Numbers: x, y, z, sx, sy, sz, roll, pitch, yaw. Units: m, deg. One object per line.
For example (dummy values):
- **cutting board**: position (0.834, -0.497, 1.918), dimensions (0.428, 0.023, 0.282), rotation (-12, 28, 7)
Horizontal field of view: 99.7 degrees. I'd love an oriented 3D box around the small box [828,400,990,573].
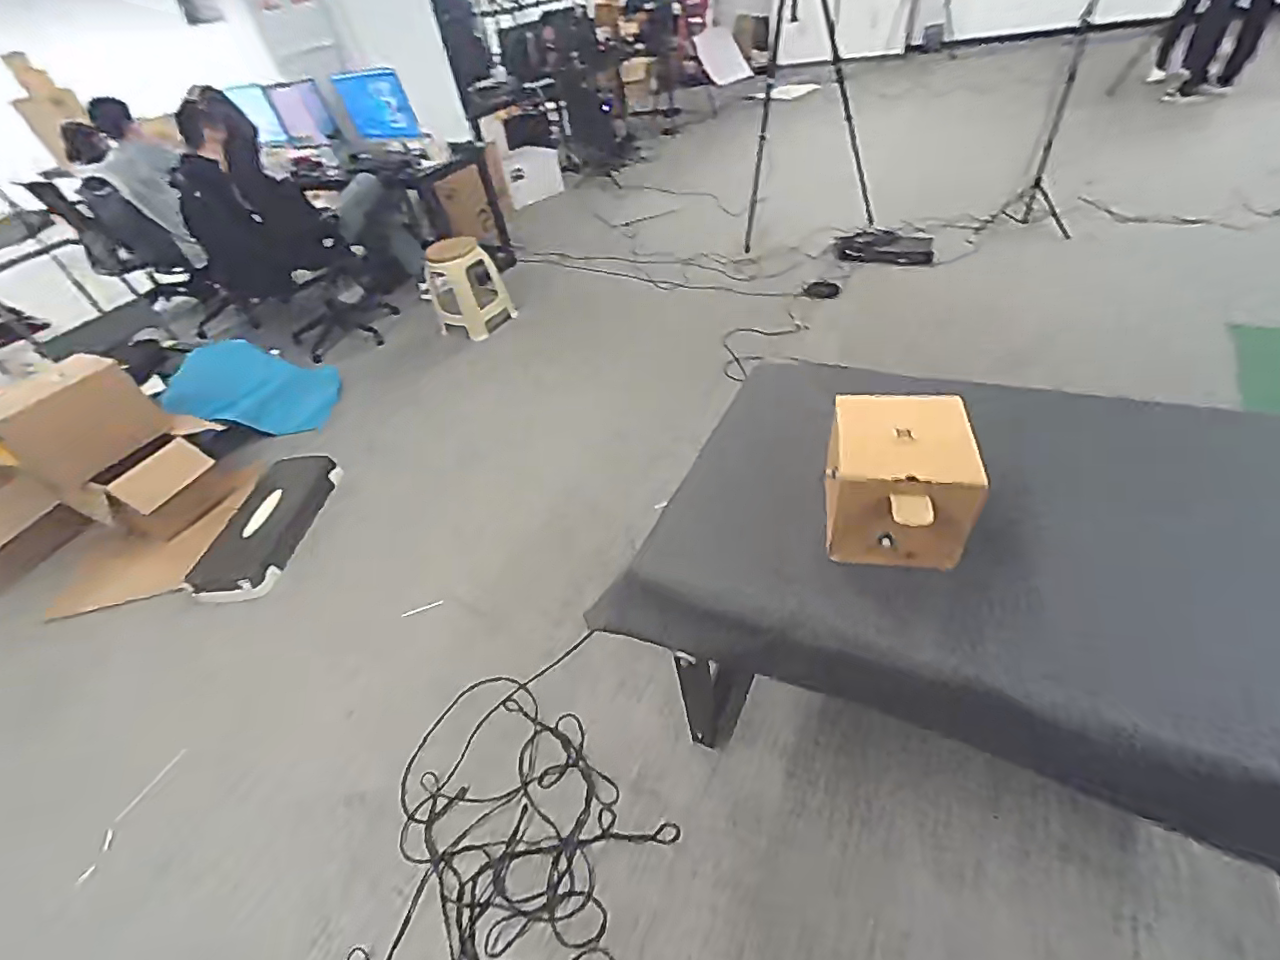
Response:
- **small box**: position (0.361, 0.006, 0.764), dimensions (0.168, 0.176, 0.179), rotation (3, 45, 15)
